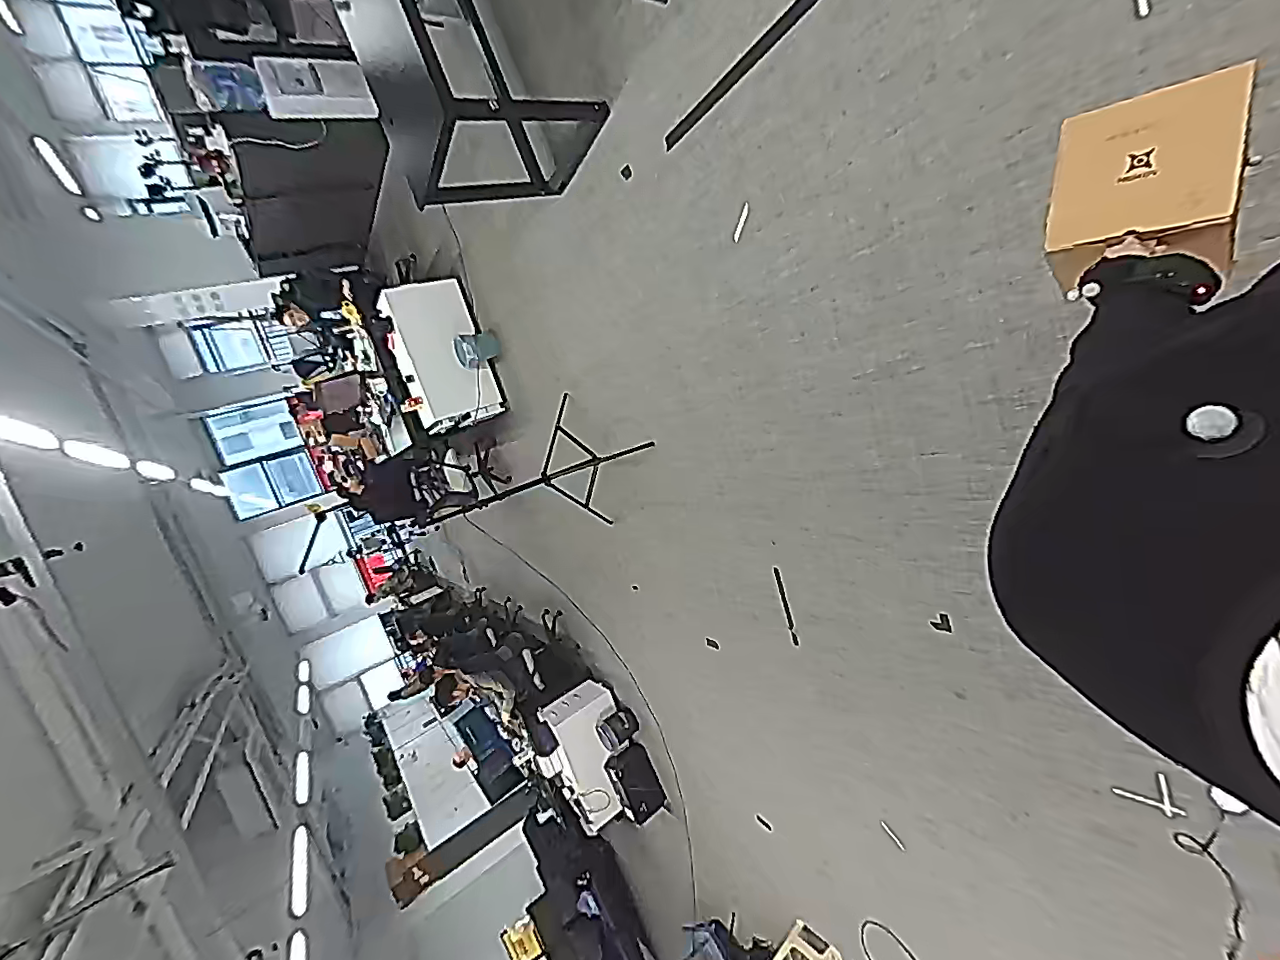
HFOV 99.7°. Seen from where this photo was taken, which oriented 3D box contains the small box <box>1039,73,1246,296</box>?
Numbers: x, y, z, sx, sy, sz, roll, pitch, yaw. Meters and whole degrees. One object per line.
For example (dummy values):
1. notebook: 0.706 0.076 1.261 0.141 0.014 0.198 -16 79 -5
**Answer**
1. small box: 0.636 -0.349 0.689 0.168 0.176 0.179 8 88 46
